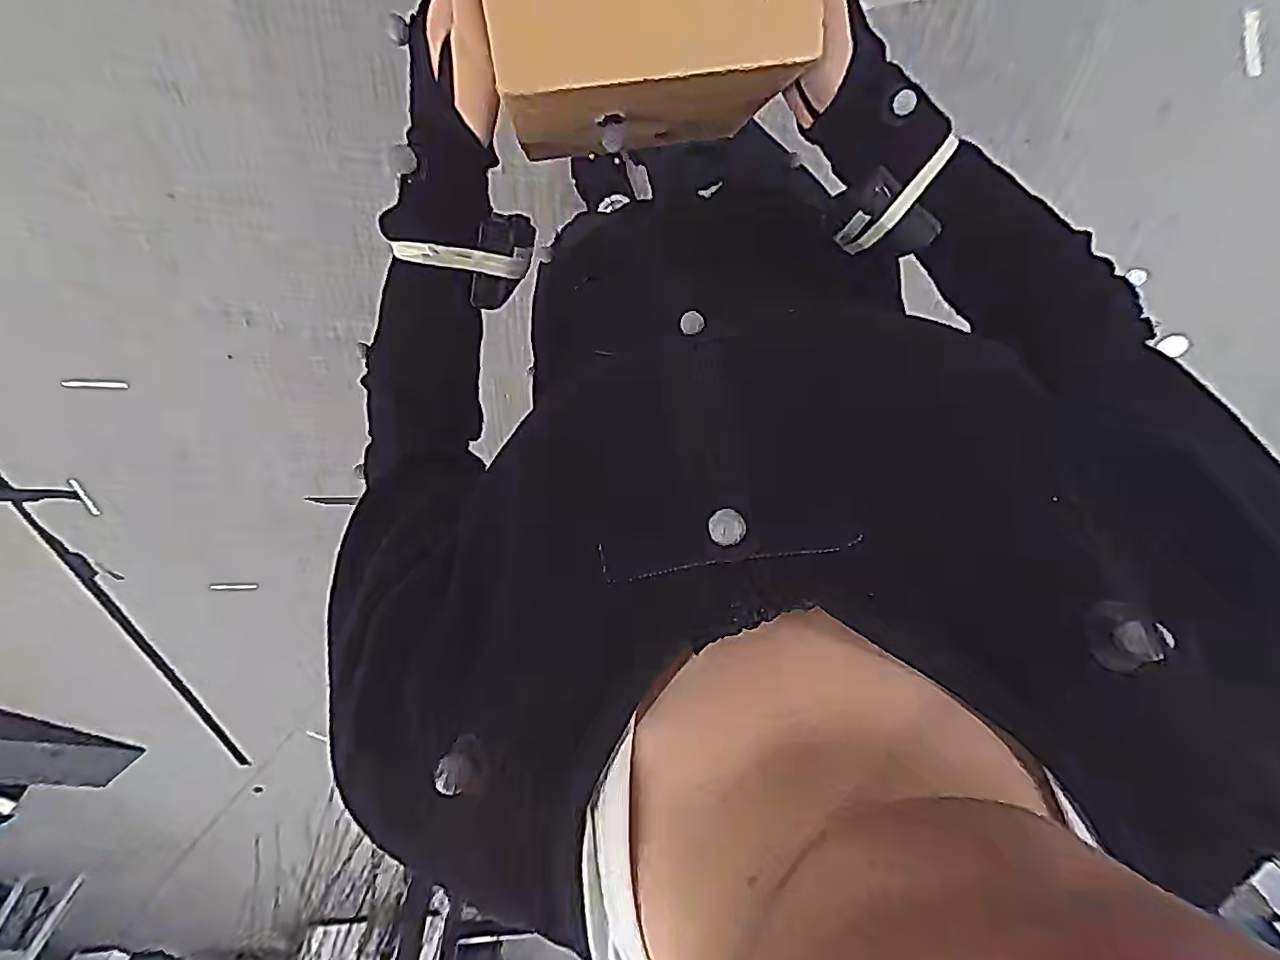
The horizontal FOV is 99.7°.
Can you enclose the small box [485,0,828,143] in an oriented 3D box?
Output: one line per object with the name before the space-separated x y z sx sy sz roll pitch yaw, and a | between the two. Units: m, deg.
small box | -0.004 -0.311 0.308 0.168 0.176 0.179 -9 110 -3
